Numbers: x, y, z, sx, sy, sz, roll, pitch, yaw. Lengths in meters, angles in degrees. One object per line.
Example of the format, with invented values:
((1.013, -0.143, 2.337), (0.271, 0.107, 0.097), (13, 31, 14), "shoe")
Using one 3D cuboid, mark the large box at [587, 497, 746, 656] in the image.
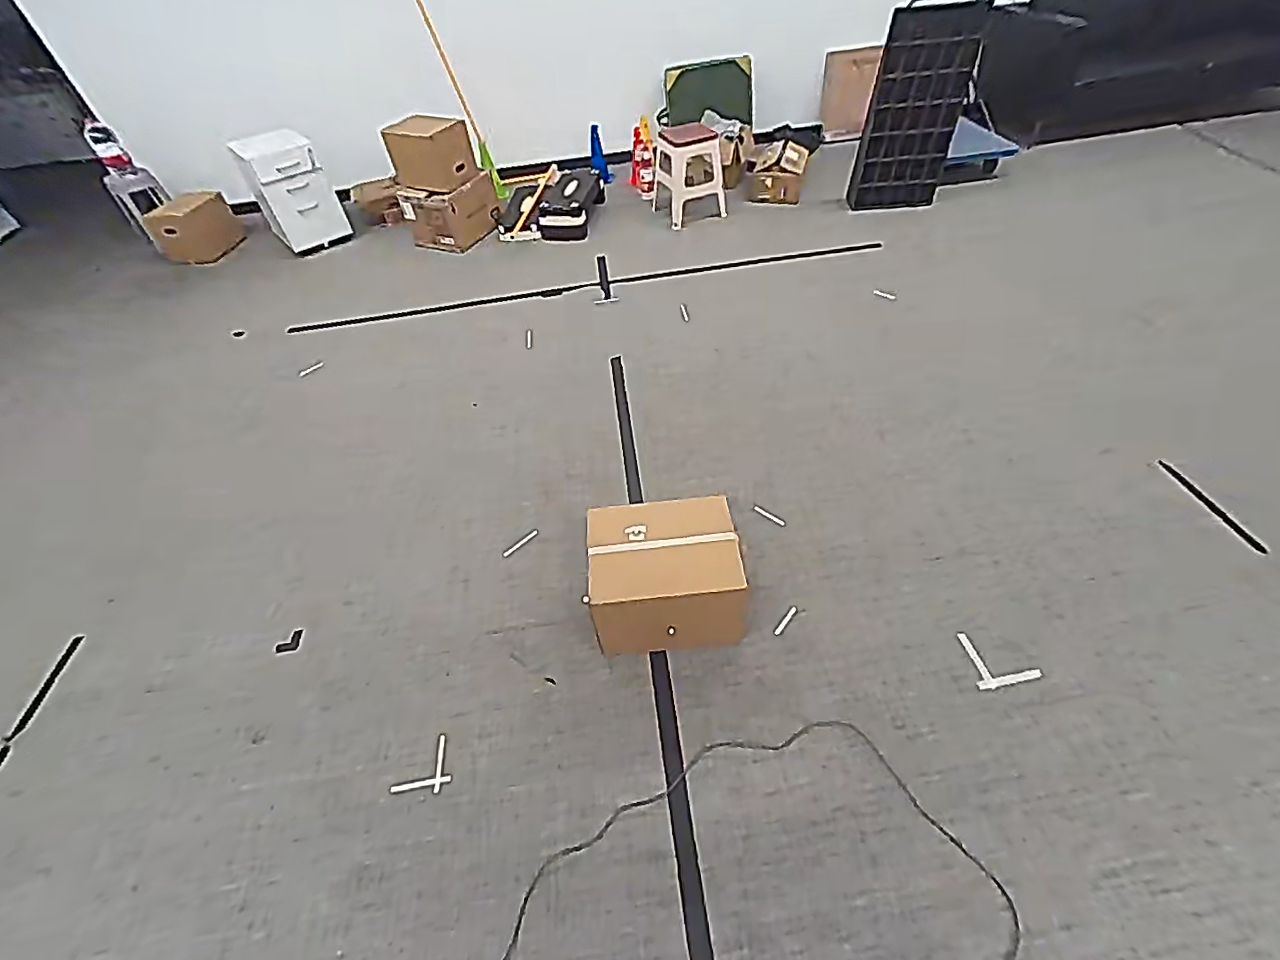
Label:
((0.073, 0.285, 1.569), (0.408, 0.320, 0.320), (-7, 47, 1), "large box")
